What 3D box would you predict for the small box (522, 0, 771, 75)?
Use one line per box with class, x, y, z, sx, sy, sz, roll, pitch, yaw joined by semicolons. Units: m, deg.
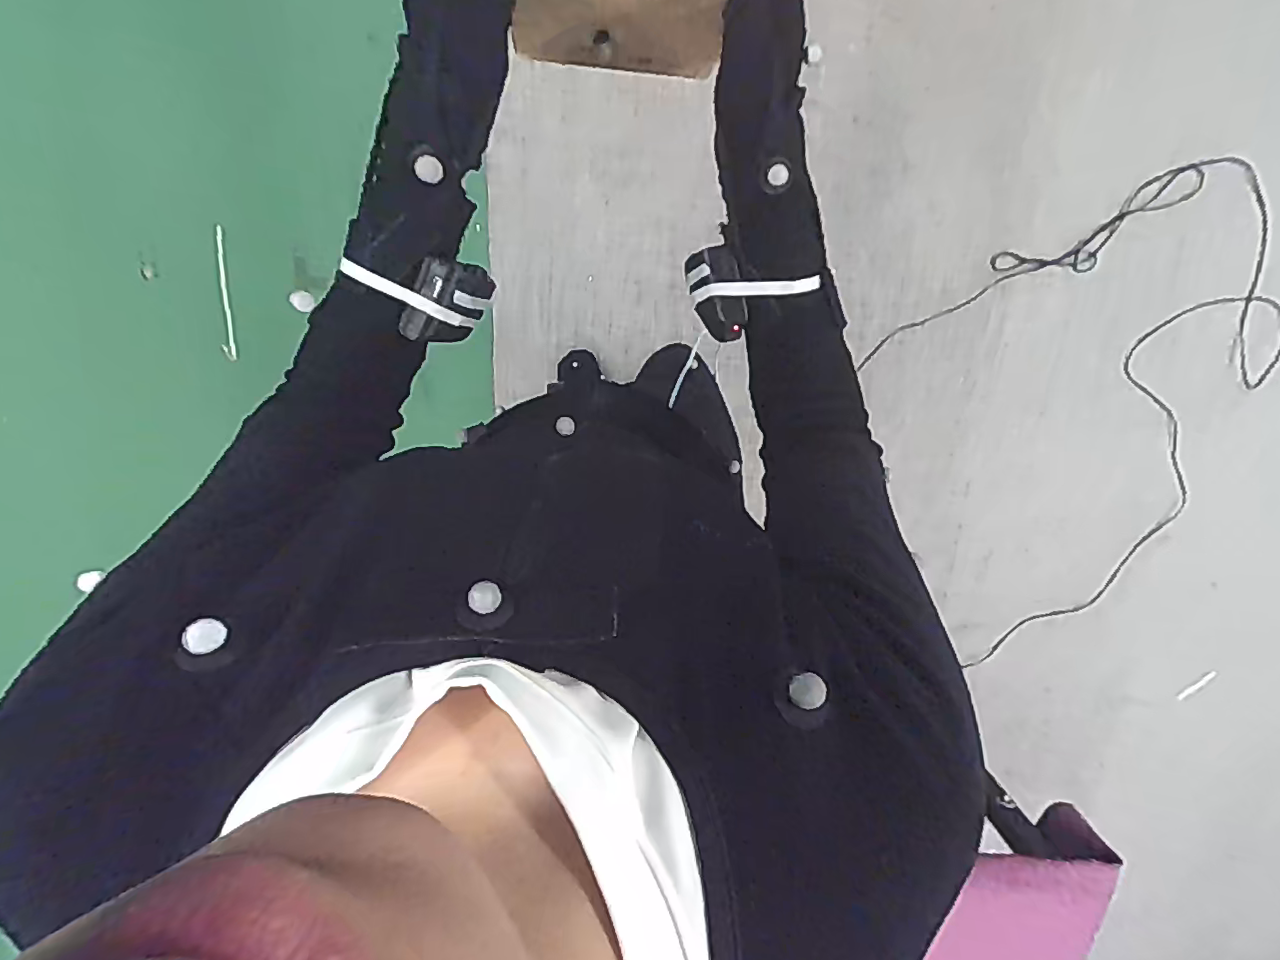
small box;0.001;-0.405;0.354;0.168;0.176;0.179;0;111;-8
